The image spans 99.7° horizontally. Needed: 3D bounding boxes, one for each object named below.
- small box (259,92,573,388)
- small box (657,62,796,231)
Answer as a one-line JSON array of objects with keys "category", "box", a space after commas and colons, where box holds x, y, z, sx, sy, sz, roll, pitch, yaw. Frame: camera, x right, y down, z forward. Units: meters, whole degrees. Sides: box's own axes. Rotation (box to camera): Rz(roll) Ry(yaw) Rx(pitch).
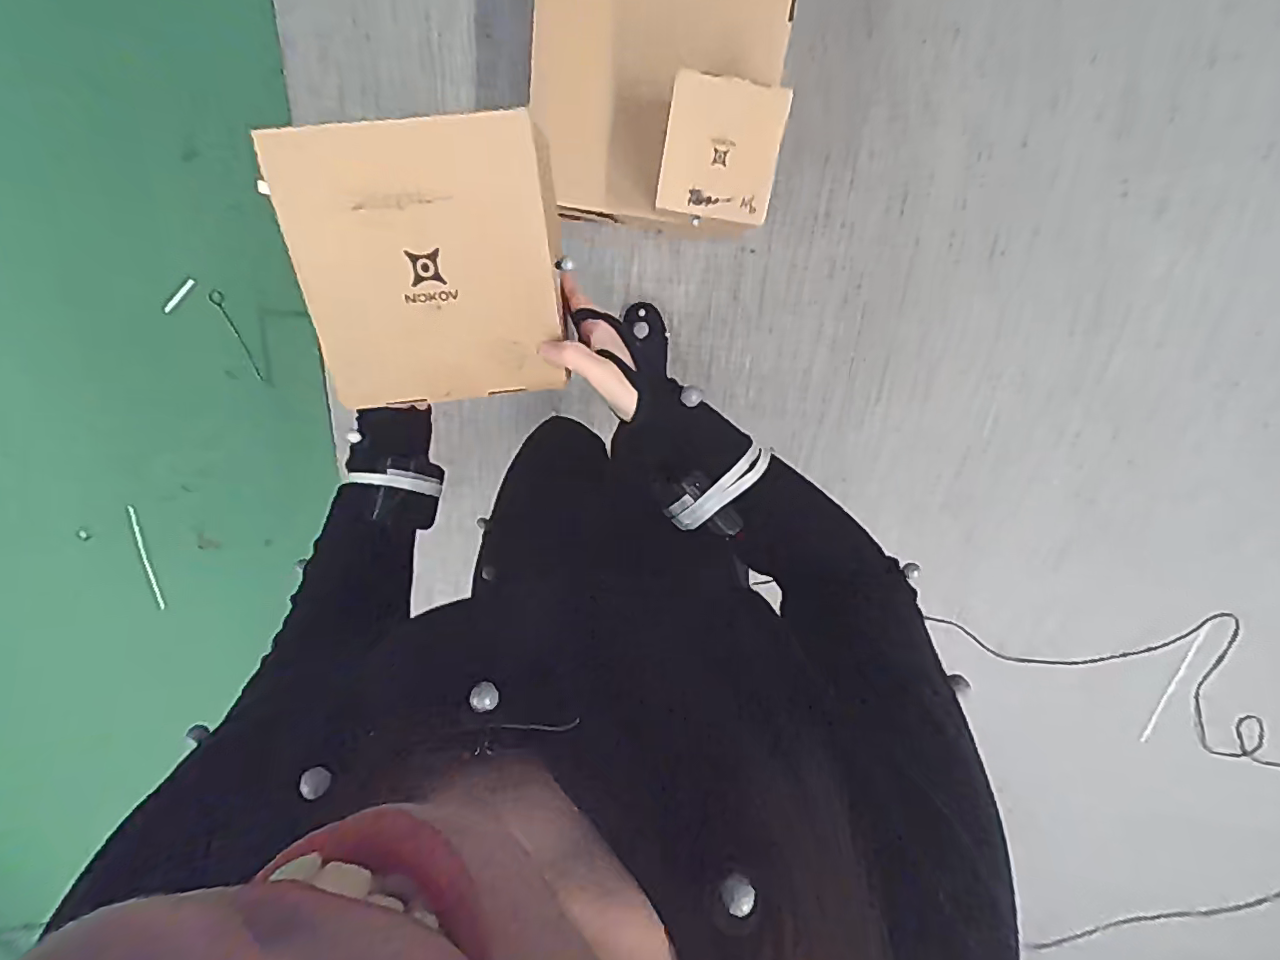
[{"category": "small box", "box": [-0.145, -0.185, 0.430, 0.168, 0.176, 0.179, -5, 116, -3]}, {"category": "small box", "box": [0.120, -0.499, 0.836, 0.168, 0.176, 0.179, 10, 111, -2]}]
